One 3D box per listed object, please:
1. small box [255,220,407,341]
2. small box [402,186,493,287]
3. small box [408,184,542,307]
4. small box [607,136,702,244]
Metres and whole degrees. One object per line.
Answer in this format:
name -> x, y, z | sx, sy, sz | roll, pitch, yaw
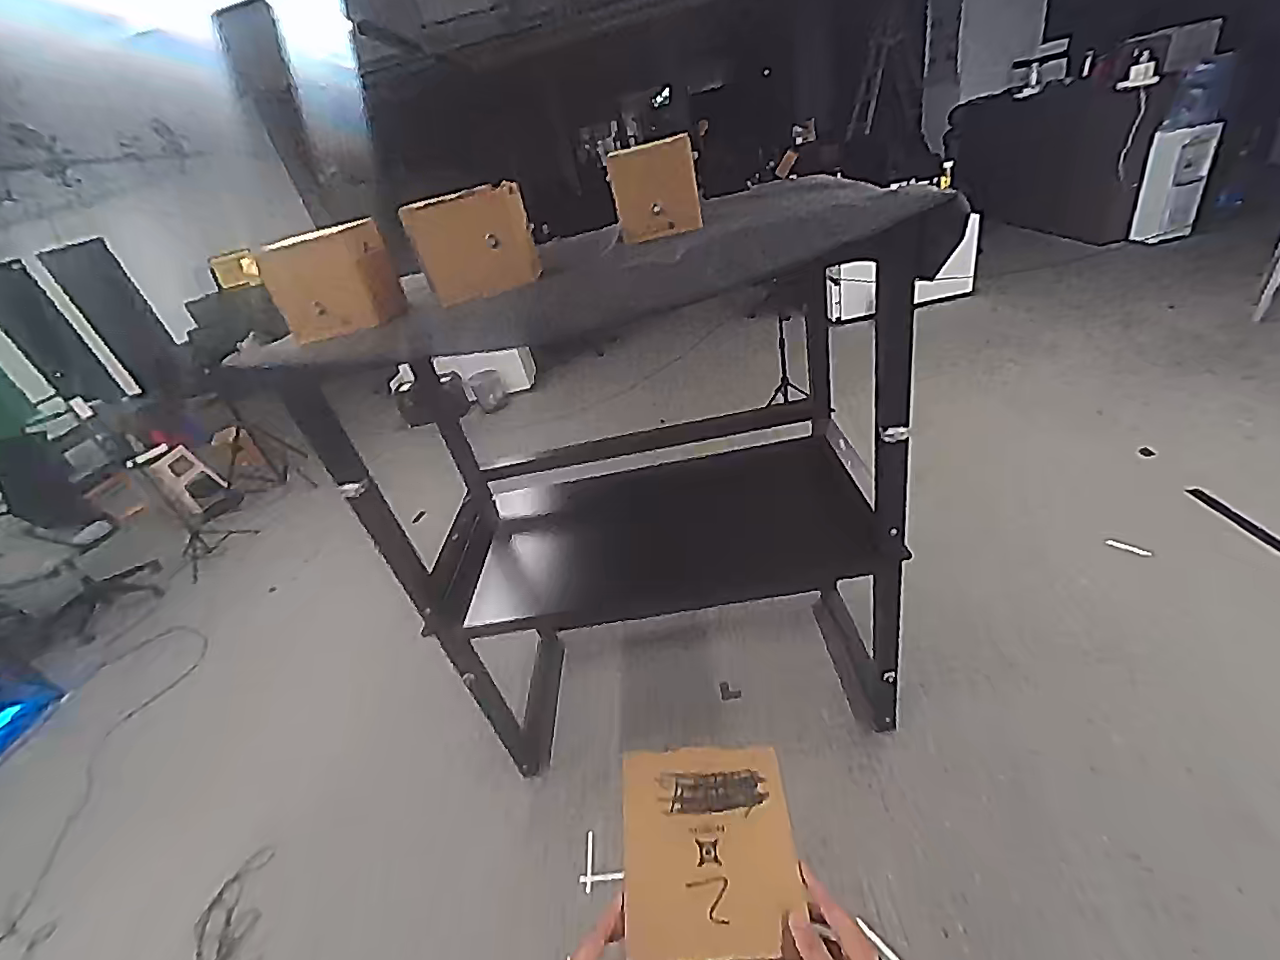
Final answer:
small box -> -0.572, -0.381, 1.034 | 0.168, 0.176, 0.179 | -12, 32, 3
small box -> -0.396, -0.543, 1.217 | 0.168, 0.176, 0.179 | -10, 32, 7
small box -> -0.296, -0.441, 1.016 | 0.179, 0.176, 0.168 | -11, 30, 4
small box -> 0.037, -0.615, 1.151 | 0.168, 0.176, 0.179 | -10, 32, 9
